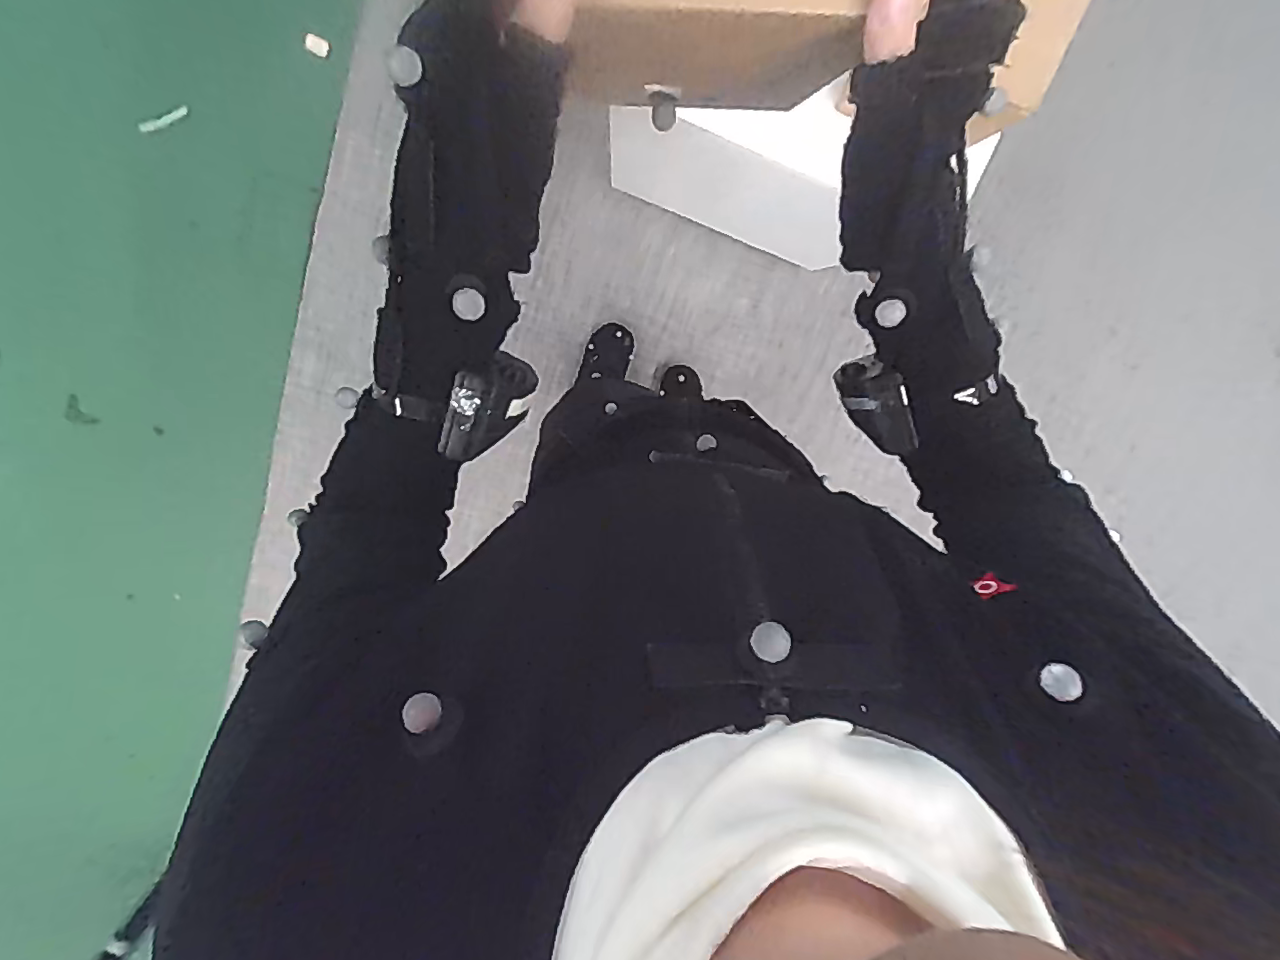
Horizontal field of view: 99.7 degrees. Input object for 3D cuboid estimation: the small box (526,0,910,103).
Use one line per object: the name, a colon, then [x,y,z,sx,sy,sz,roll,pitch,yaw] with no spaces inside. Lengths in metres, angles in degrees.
small box: [0.026,-0.299,0.244,0.168,0.176,0.179,-2,113,-5]

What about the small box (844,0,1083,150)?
small box: [0.359,-0.514,0.615,0.168,0.176,0.179,20,104,-8]
